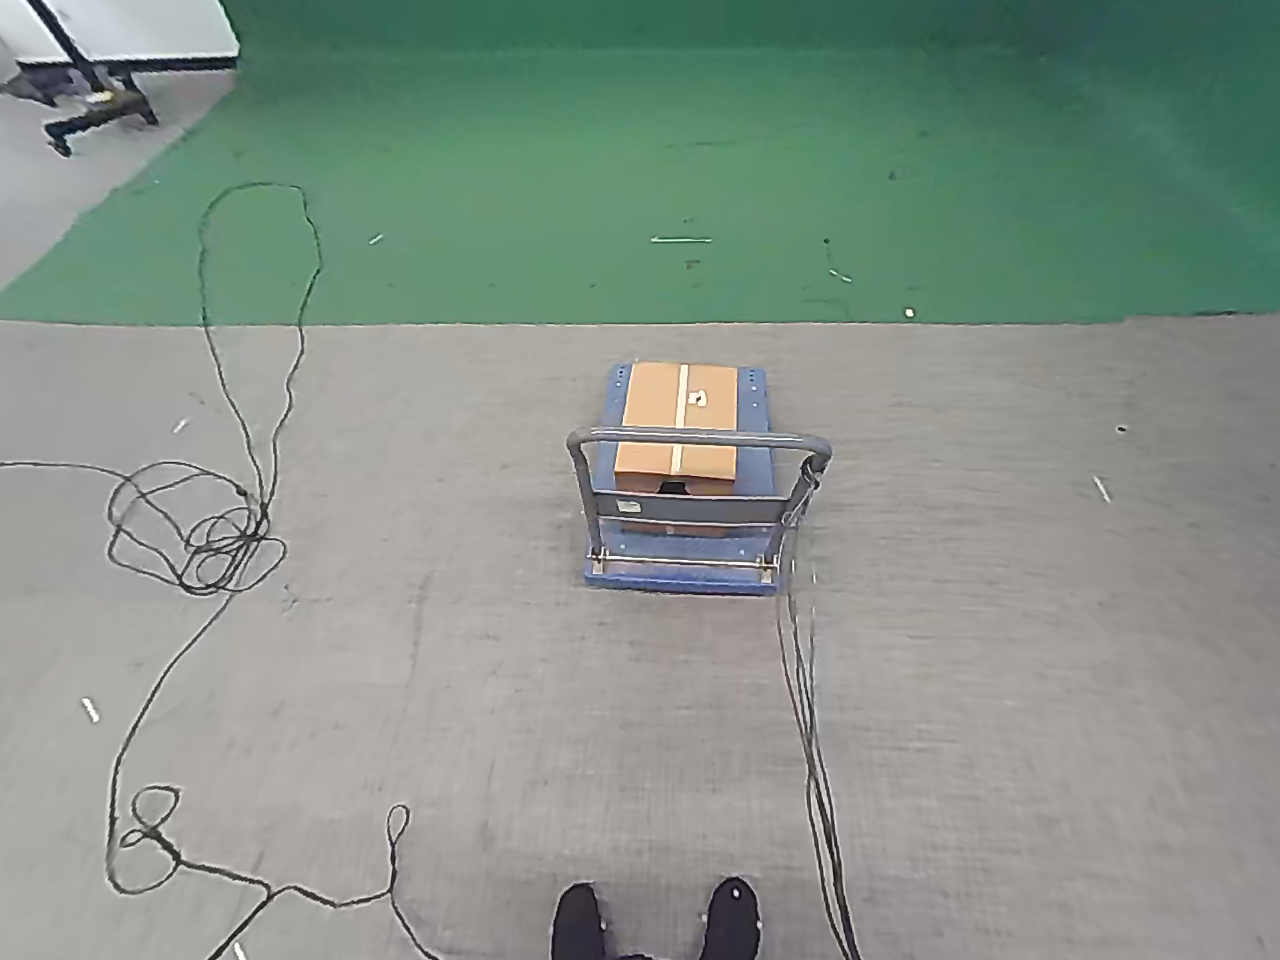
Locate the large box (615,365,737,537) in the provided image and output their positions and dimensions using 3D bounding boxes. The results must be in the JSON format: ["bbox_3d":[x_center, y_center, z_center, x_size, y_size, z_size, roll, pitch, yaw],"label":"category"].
[{"bbox_3d":[0.111,-0.082,1.594,0.320,0.320,0.408,5,55,4],"label":"large box"}]
